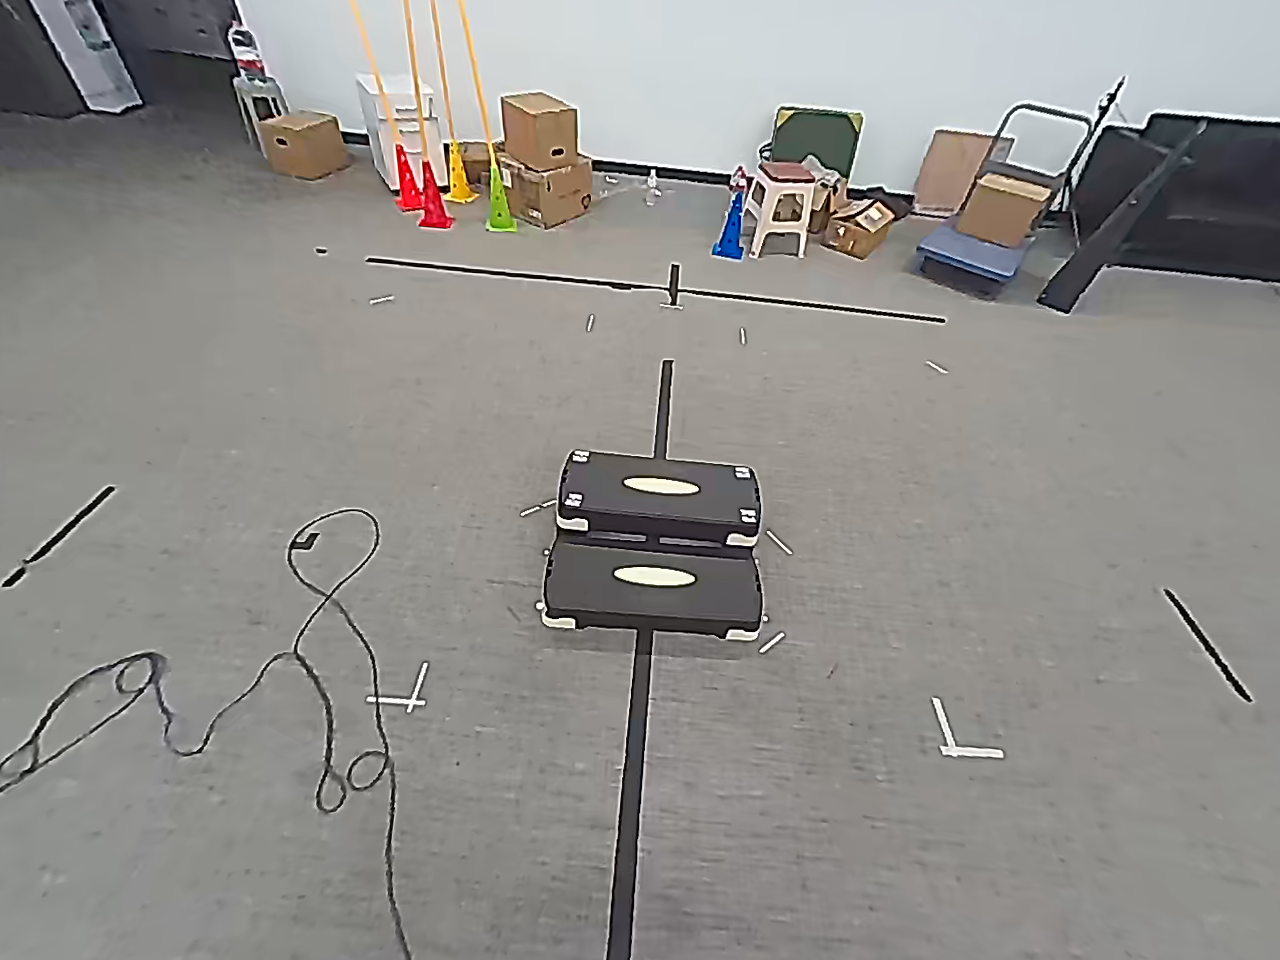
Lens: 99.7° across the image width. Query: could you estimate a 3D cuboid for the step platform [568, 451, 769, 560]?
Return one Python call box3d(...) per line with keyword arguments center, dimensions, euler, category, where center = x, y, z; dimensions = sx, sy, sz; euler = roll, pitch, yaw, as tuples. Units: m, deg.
box3d(center=(0.096, 0.083, 1.869), dimensions=(0.684, 0.204, 0.286), euler=(6, 46, -2), category="step platform")
